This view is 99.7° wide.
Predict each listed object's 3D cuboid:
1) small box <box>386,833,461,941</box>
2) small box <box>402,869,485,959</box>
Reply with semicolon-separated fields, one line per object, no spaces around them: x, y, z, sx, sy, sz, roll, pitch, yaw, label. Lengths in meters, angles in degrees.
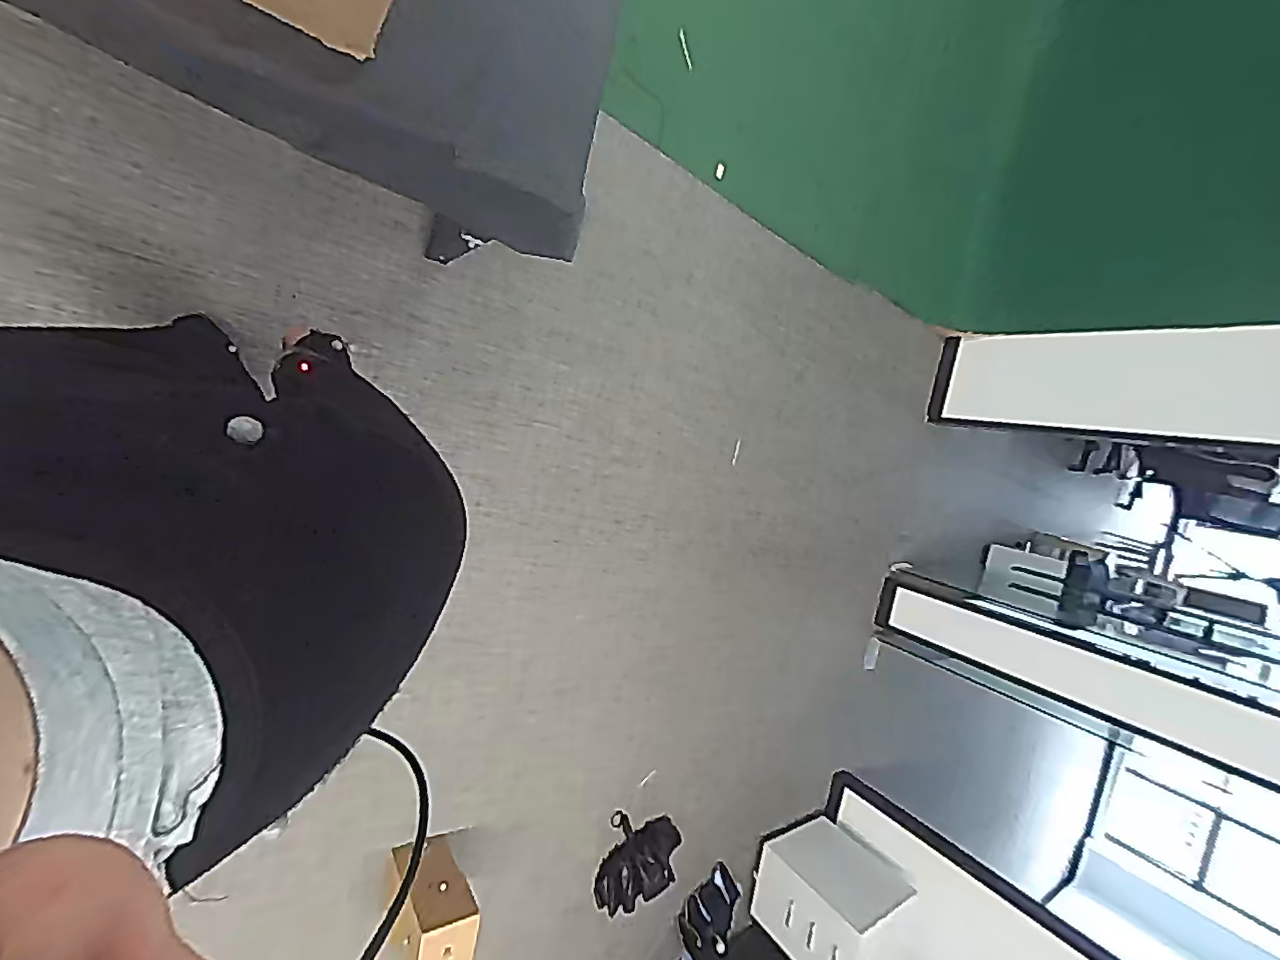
-0.668;1.240;1.660;0.168;0.176;0.179;7;94;-39;small box
-0.563;1.265;1.536;0.168;0.176;0.179;9;94;-39;small box
